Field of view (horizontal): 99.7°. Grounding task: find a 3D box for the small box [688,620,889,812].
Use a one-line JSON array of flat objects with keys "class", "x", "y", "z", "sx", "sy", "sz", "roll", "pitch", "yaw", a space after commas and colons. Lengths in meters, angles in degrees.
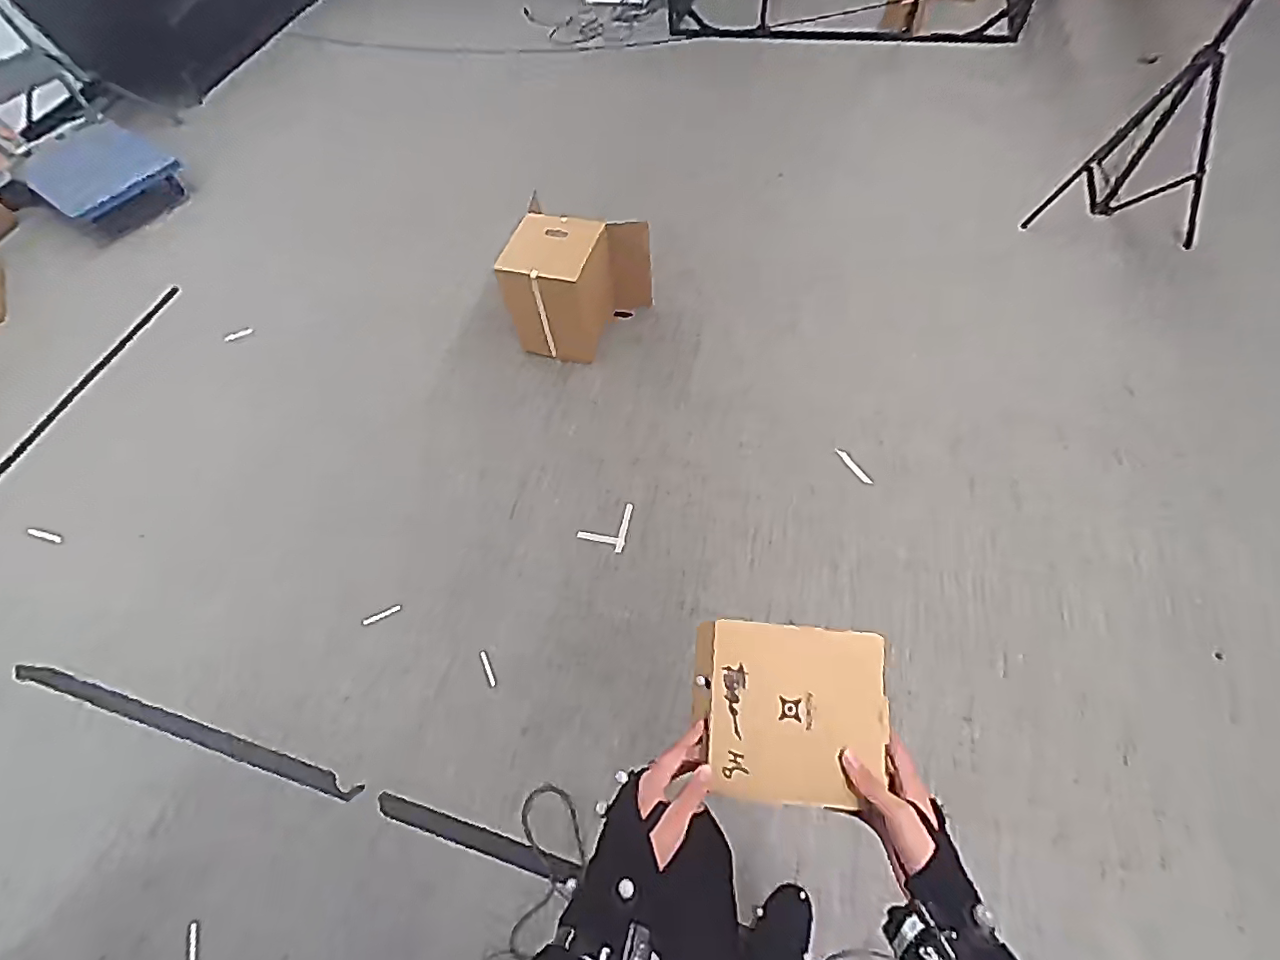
[{"class": "small box", "x": 0.154, "y": 0.250, "z": 0.608, "sx": 0.179, "sy": 0.176, "sz": 0.168, "roll": 5, "pitch": 73, "yaw": 1}]
